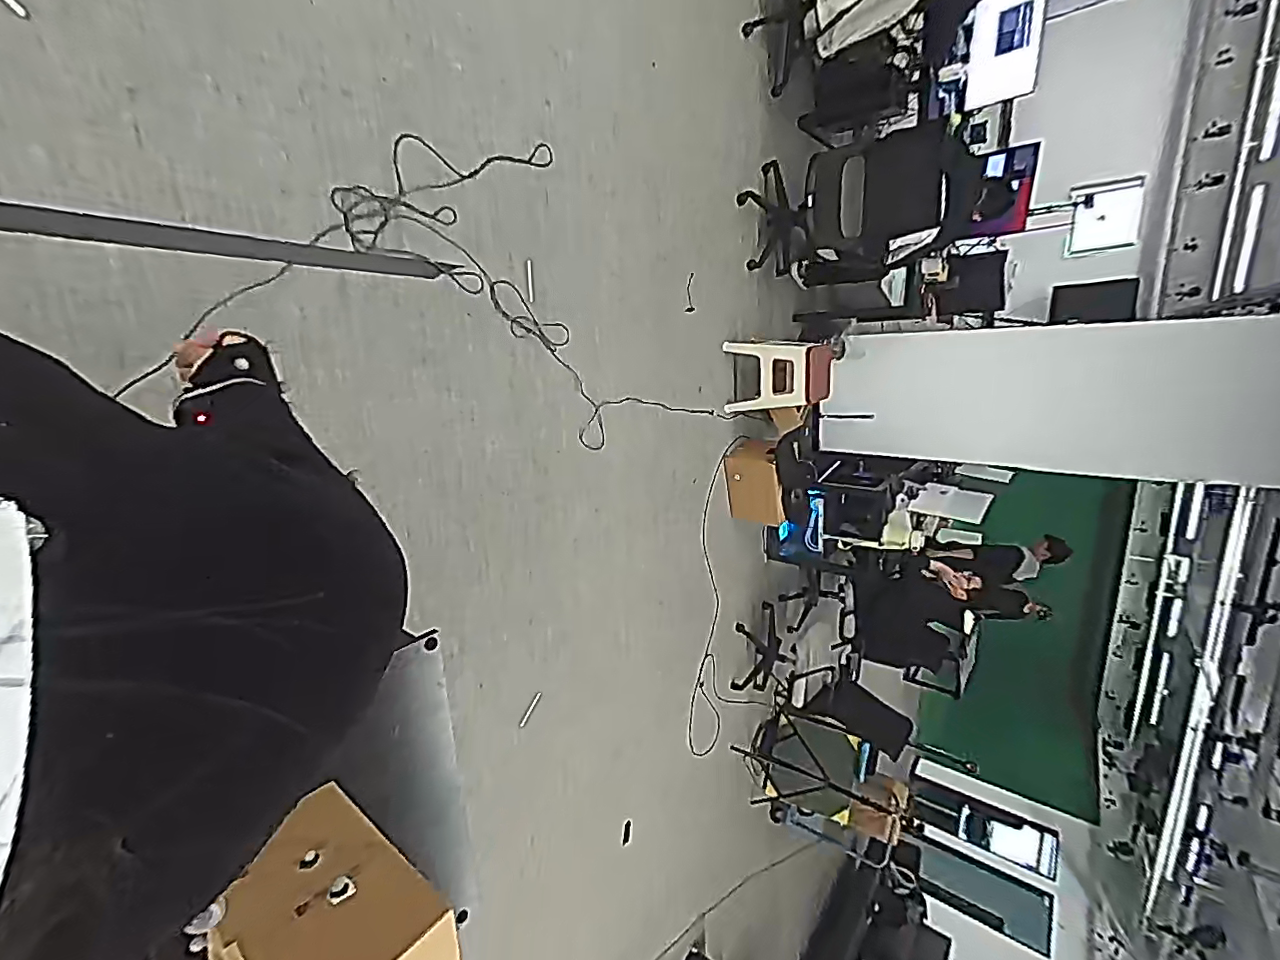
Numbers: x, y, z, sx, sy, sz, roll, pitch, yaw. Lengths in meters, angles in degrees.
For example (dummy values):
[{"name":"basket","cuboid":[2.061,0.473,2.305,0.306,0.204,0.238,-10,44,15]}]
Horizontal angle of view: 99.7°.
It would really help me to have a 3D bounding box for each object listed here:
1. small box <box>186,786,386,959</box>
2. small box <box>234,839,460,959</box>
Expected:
[{"name":"small box","cuboid":[-0.450,0.547,0.706,0.179,0.176,0.168,-16,108,-49]},{"name":"small box","cuboid":[-0.321,0.562,0.609,0.168,0.176,0.179,-19,110,-51]}]
